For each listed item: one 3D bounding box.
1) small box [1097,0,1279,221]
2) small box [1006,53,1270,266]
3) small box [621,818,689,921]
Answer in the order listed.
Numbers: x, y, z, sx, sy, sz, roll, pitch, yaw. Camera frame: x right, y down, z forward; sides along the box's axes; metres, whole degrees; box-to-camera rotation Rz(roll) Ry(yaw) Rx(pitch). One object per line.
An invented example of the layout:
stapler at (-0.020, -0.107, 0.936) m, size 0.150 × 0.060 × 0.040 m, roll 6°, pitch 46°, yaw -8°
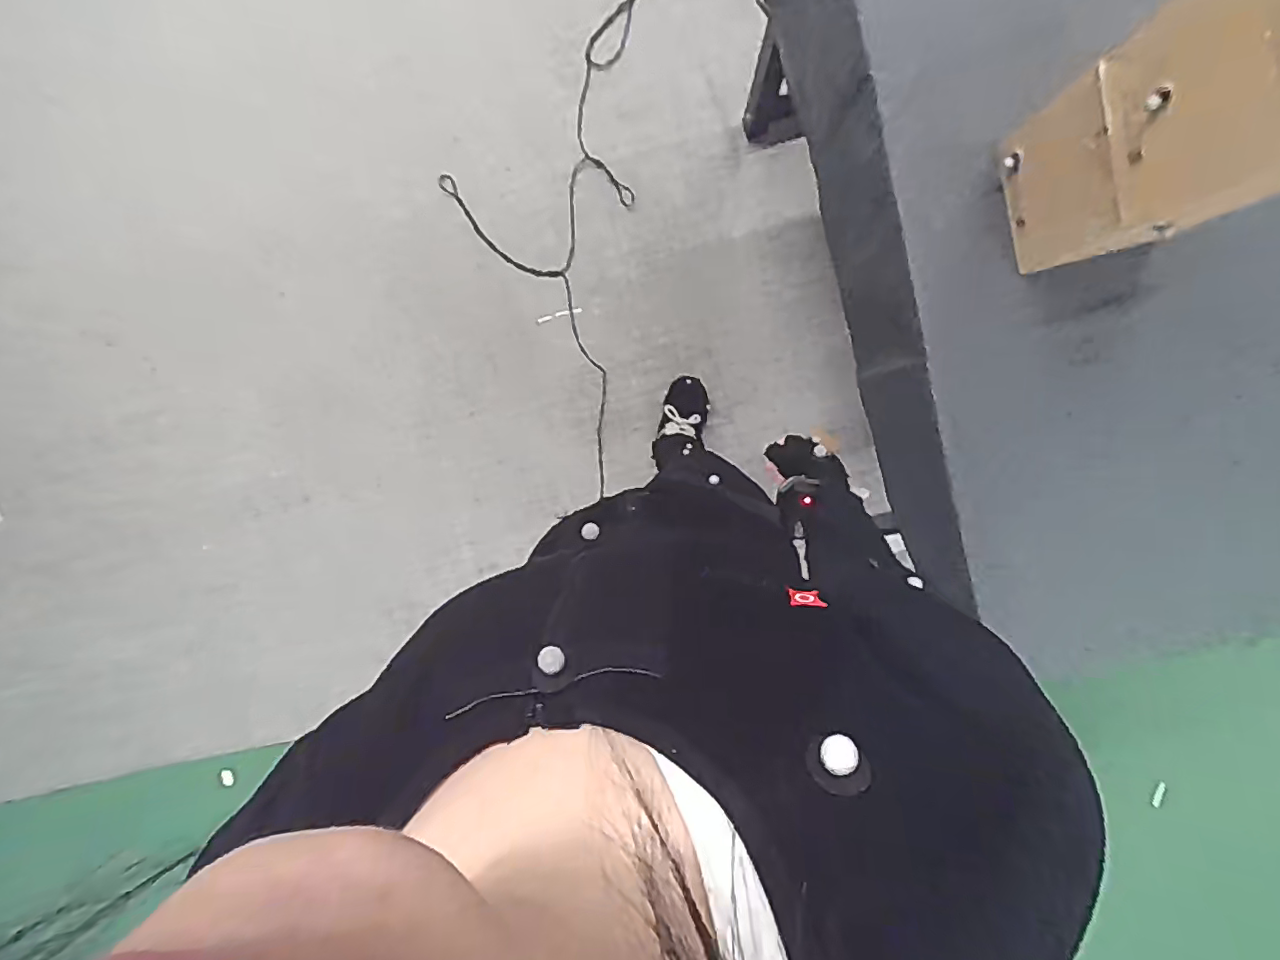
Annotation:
small box at (0.543, -0.344, 0.450) m, size 0.179 × 0.176 × 0.168 m, roll -14°, pitch 95°, yaw 4°
small box at (0.551, -0.363, 0.611) m, size 0.179 × 0.176 × 0.168 m, roll -14°, pitch 95°, yaw 3°
small box at (0.043, 1.081, 1.517) m, size 0.168 × 0.176 × 0.179 m, roll -9°, pitch 95°, yaw 4°
